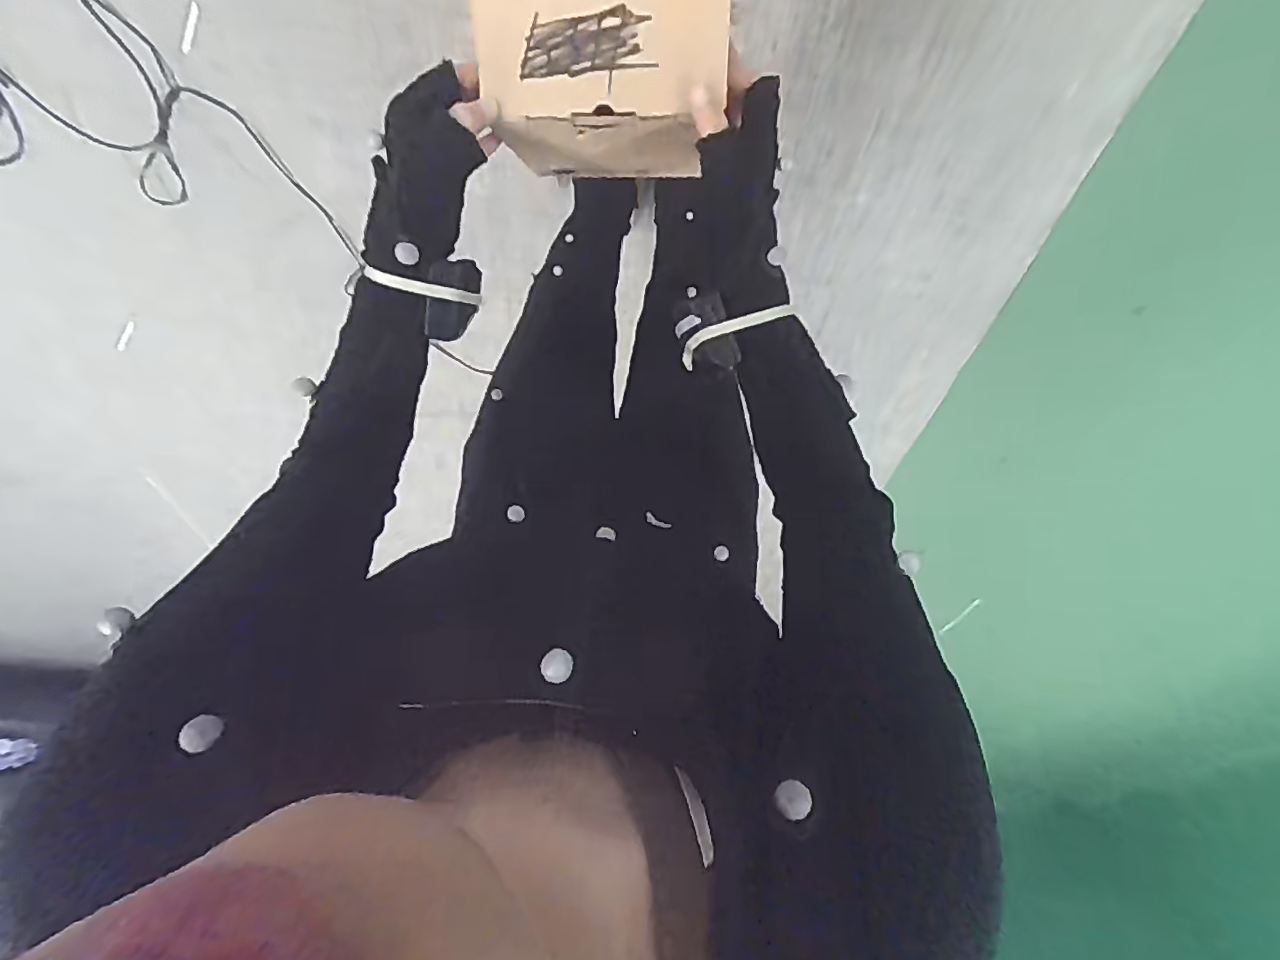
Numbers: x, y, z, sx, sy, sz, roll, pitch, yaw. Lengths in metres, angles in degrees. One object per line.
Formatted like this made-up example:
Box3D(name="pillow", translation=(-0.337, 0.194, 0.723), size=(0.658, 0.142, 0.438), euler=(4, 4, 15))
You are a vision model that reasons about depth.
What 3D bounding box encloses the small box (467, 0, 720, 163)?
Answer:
Box3D(name="small box", translation=(-0.024, -0.355, 0.411), size=(0.168, 0.176, 0.179), euler=(1, 107, 2))
